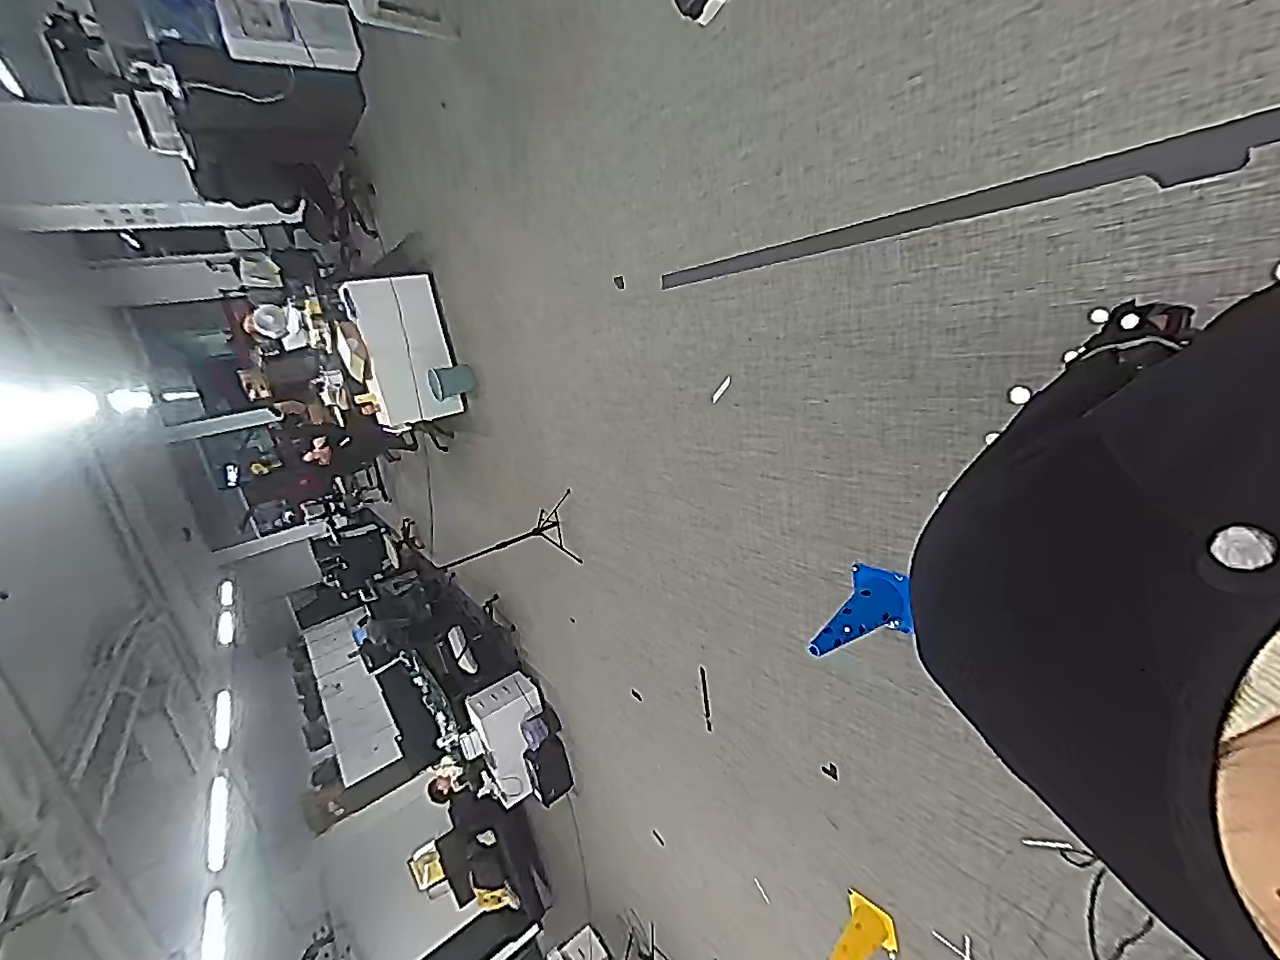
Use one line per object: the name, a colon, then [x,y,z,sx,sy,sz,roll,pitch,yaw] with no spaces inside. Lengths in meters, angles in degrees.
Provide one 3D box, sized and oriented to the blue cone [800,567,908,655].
blue cone: [0.619,0.423,1.611,0.192,0.380,0.193,15,120,53]
